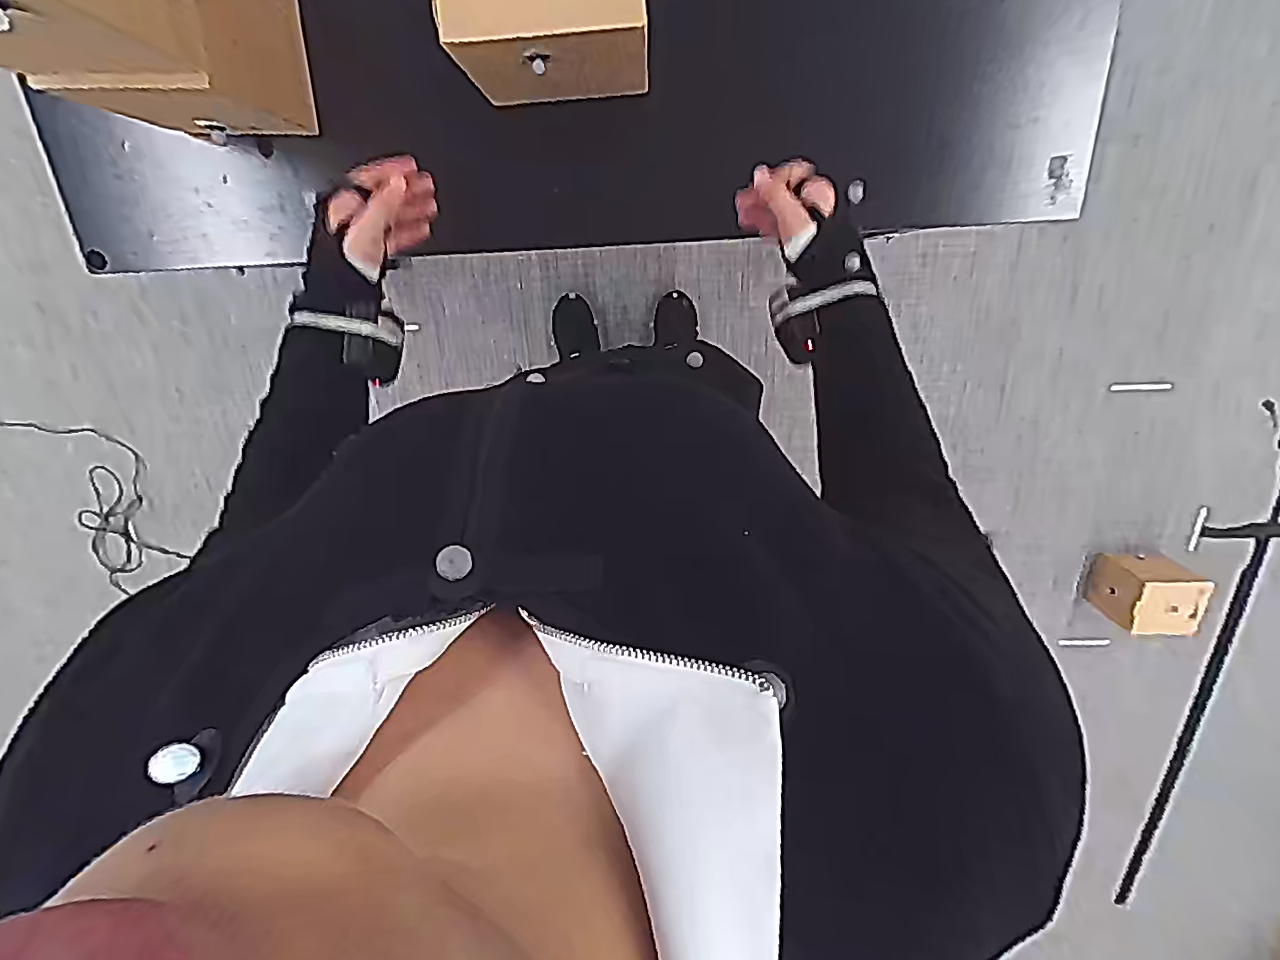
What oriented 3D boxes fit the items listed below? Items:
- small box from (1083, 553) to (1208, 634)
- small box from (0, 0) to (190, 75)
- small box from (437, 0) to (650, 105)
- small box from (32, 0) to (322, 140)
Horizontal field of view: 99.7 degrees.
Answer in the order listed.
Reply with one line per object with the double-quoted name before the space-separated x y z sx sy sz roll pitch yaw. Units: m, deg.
"small box" 1.414 0.316 1.529 0.179 0.176 0.168 0 110 2
"small box" -0.454 -0.400 0.363 0.179 0.176 0.168 1 109 2
"small box" -0.082 -0.471 0.502 0.179 0.176 0.168 -3 110 2
"small box" -0.445 -0.450 0.520 0.168 0.176 0.179 1 111 2
